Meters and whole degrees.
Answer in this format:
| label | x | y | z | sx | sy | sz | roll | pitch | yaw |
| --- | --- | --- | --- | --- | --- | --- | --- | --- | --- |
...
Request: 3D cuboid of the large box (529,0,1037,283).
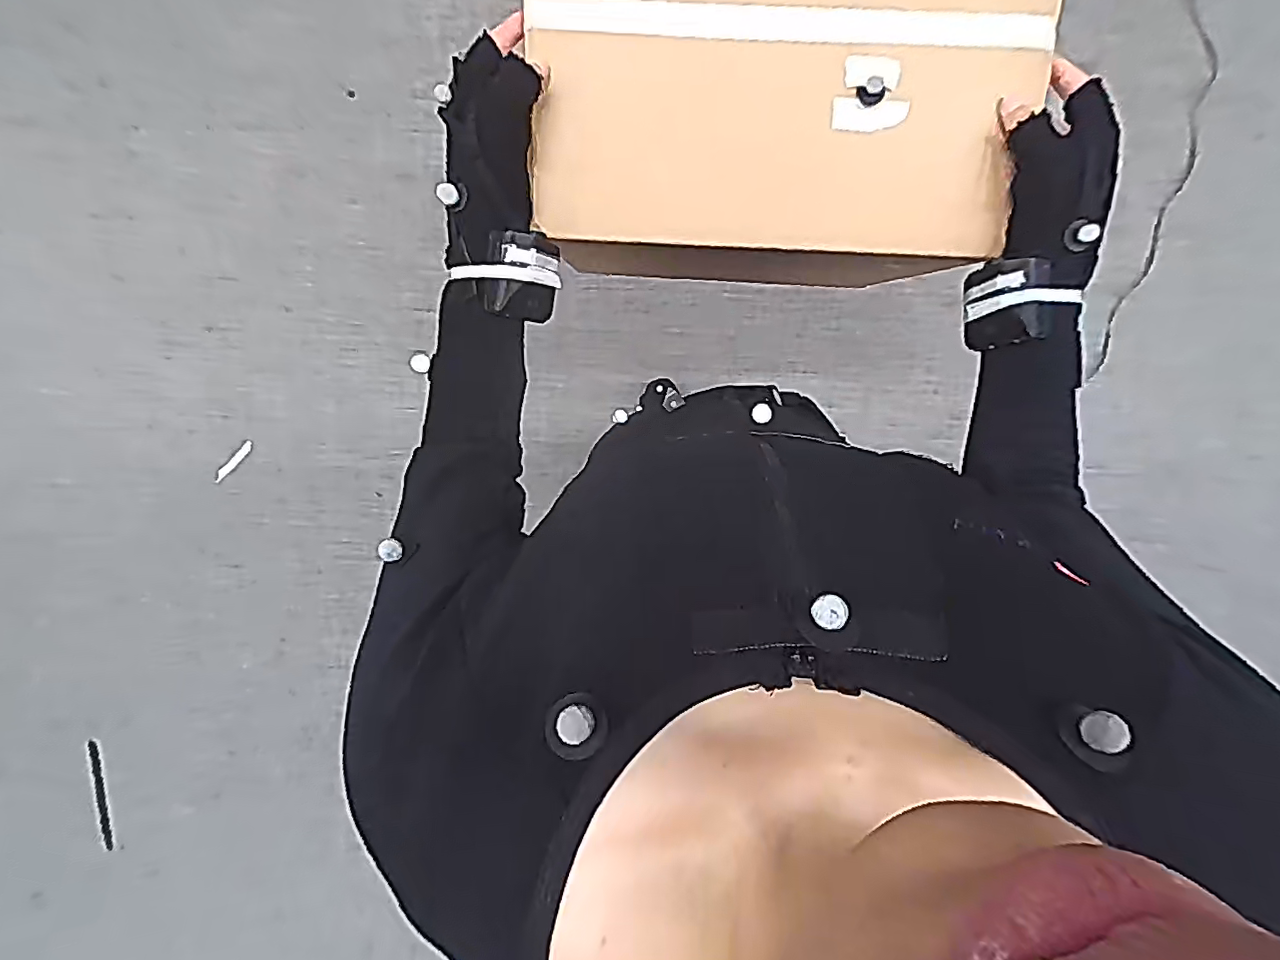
| label | x | y | z | sx | sy | sz | roll | pitch | yaw |
| --- | --- | --- | --- | --- | --- | --- | --- | --- | --- |
| large box | 0.108 | -0.391 | 0.572 | 0.408 | 0.320 | 0.320 | 3 | 105 | 0 |
